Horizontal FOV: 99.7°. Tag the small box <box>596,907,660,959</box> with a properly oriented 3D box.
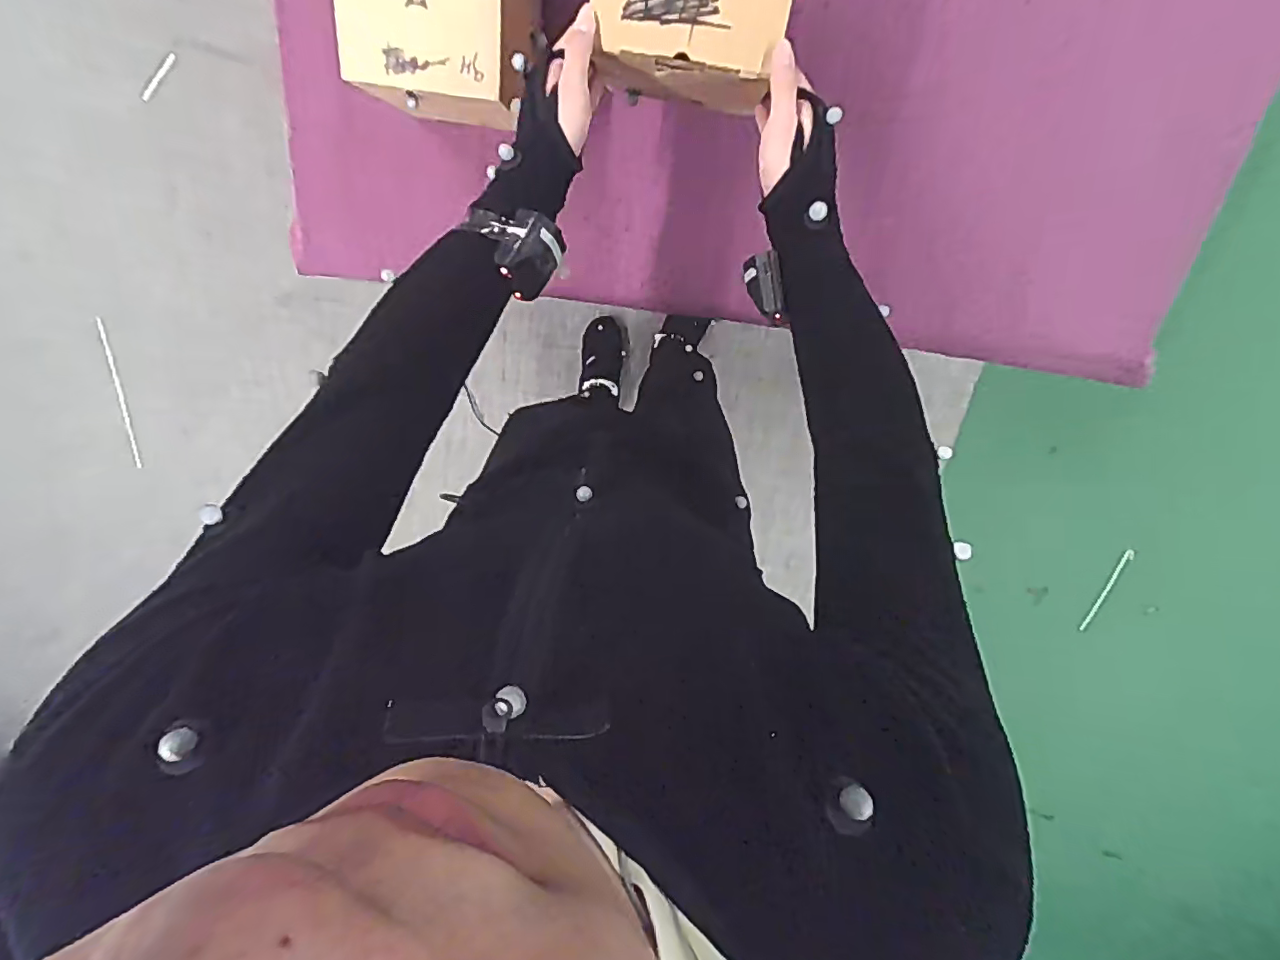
[{"bbox_3d":[-0.038,1.381,1.558,0.168,0.176,0.179,11,114,-3],"label":"small box"}]

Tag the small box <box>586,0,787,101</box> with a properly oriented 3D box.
[{"bbox_3d":[0.053,-0.473,0.492,0.168,0.176,0.179,10,115,0],"label":"small box"}]

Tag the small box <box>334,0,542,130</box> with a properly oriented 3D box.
[{"bbox_3d":[-0.207,-0.510,0.589,0.168,0.176,0.179,9,113,0],"label":"small box"}]
